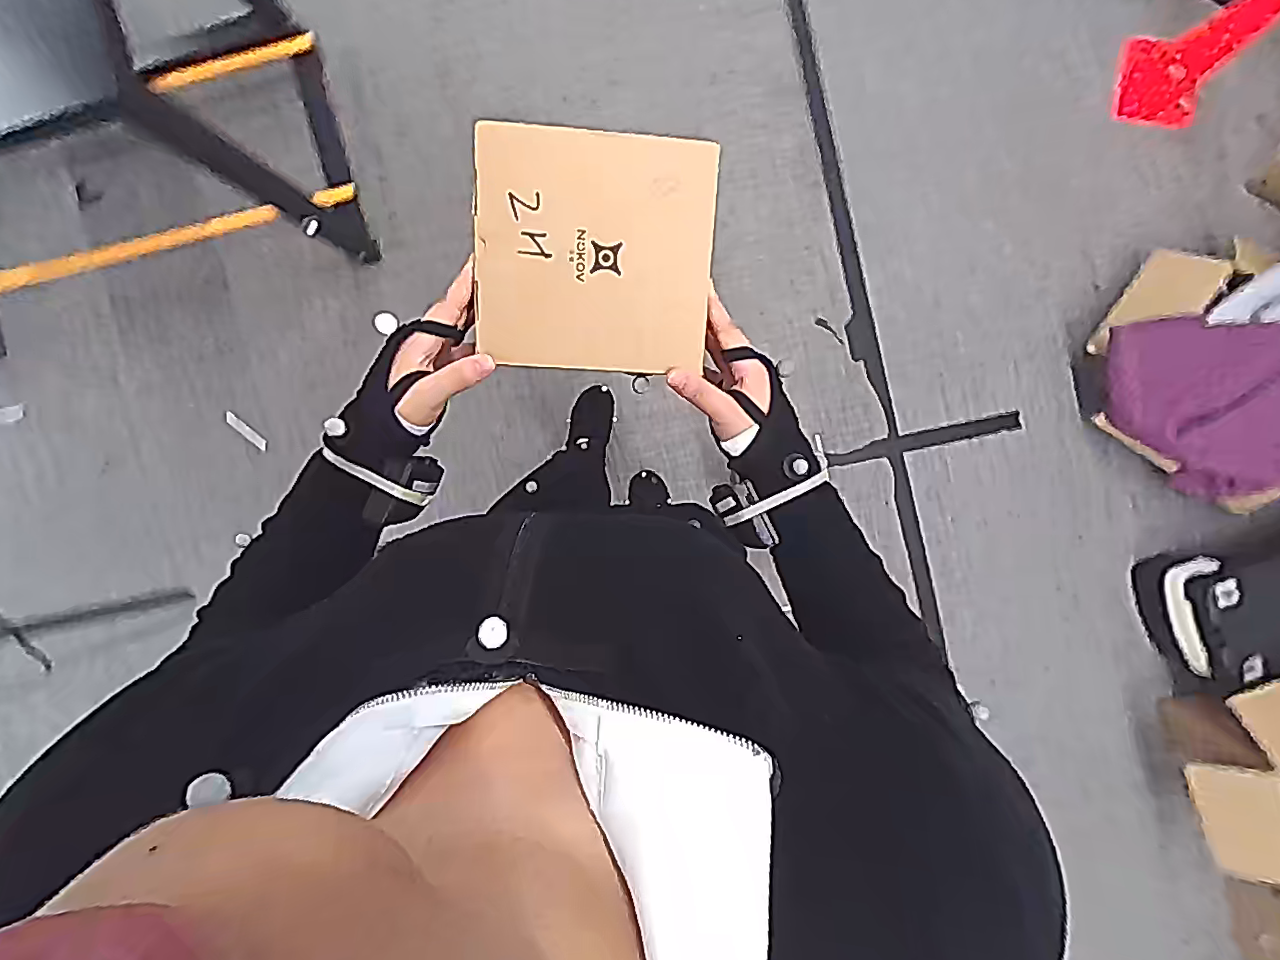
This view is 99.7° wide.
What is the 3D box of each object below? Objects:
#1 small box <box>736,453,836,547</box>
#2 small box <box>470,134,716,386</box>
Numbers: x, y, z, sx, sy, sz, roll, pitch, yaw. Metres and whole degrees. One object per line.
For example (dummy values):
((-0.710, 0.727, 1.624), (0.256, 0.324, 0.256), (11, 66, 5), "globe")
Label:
((0.324, 0.039, 1.235), (0.168, 0.176, 0.179), (-13, 95, 3), "small box")
((-0.041, -0.174, 0.474), (0.179, 0.176, 0.168), (2, 102, -4), "small box")
